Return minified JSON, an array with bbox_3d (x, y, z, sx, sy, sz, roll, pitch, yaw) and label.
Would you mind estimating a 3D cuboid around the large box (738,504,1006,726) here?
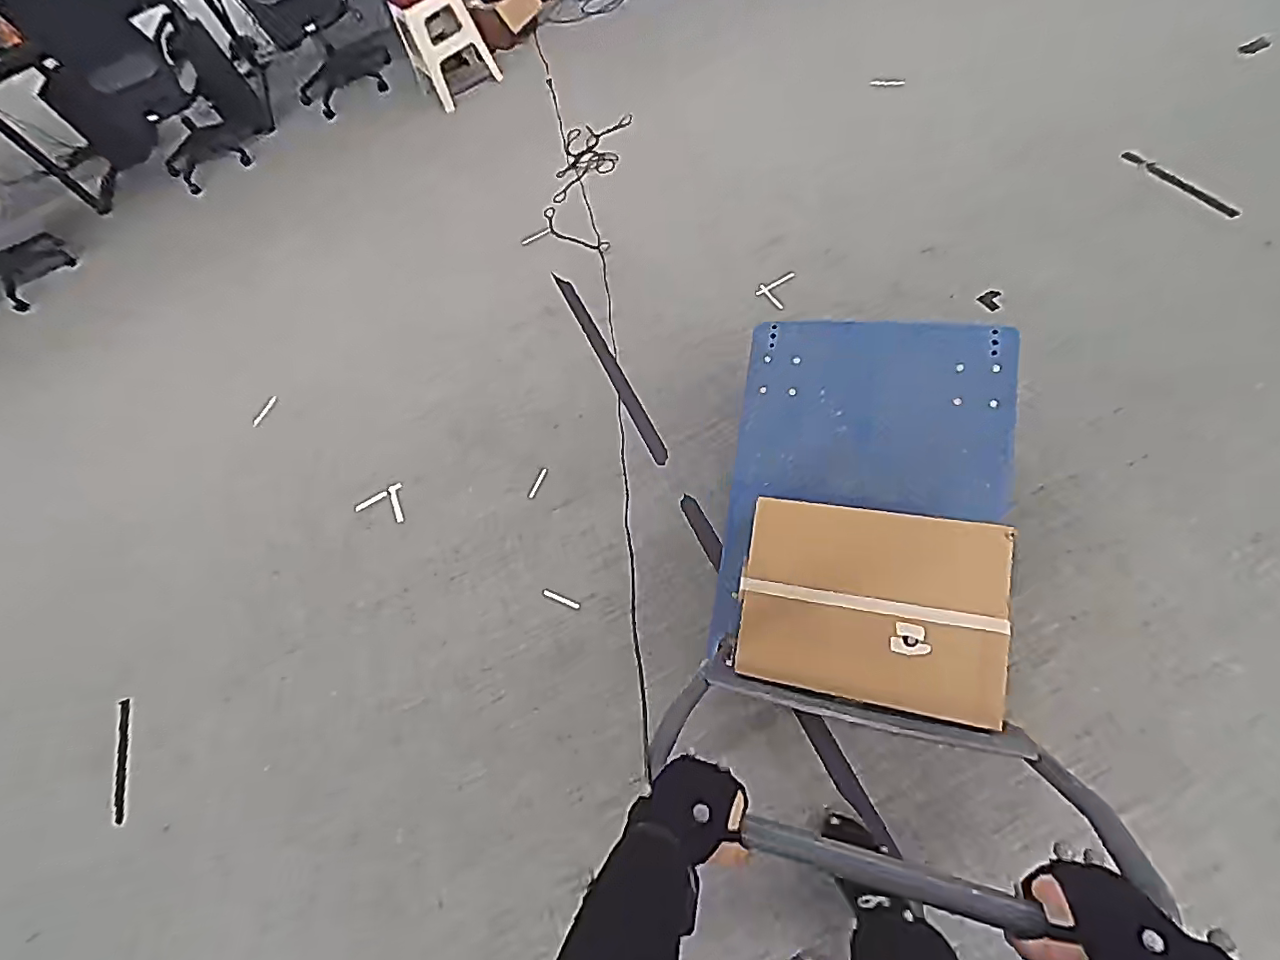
[{"bbox_3d":[0.420,0.241,1.048,0.408,0.320,0.320,7,81,17],"label":"large box"}]
